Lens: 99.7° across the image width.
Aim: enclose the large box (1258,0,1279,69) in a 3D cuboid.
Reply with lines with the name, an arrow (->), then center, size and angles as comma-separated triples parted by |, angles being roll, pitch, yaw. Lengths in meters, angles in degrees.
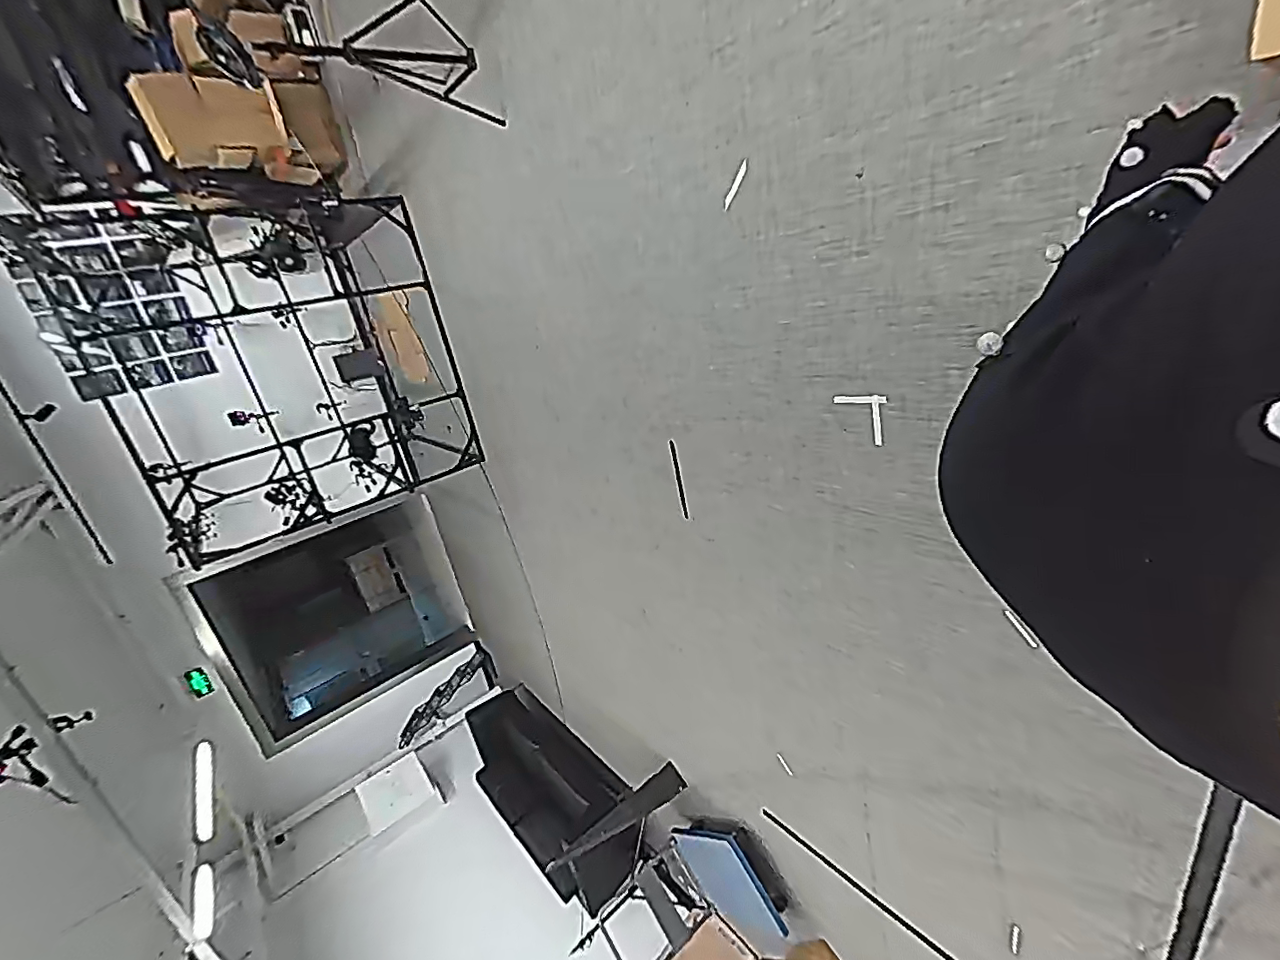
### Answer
large box -> 1.014, -0.726, 0.594 | 0.408, 0.320, 0.320 | 12, 121, 50
